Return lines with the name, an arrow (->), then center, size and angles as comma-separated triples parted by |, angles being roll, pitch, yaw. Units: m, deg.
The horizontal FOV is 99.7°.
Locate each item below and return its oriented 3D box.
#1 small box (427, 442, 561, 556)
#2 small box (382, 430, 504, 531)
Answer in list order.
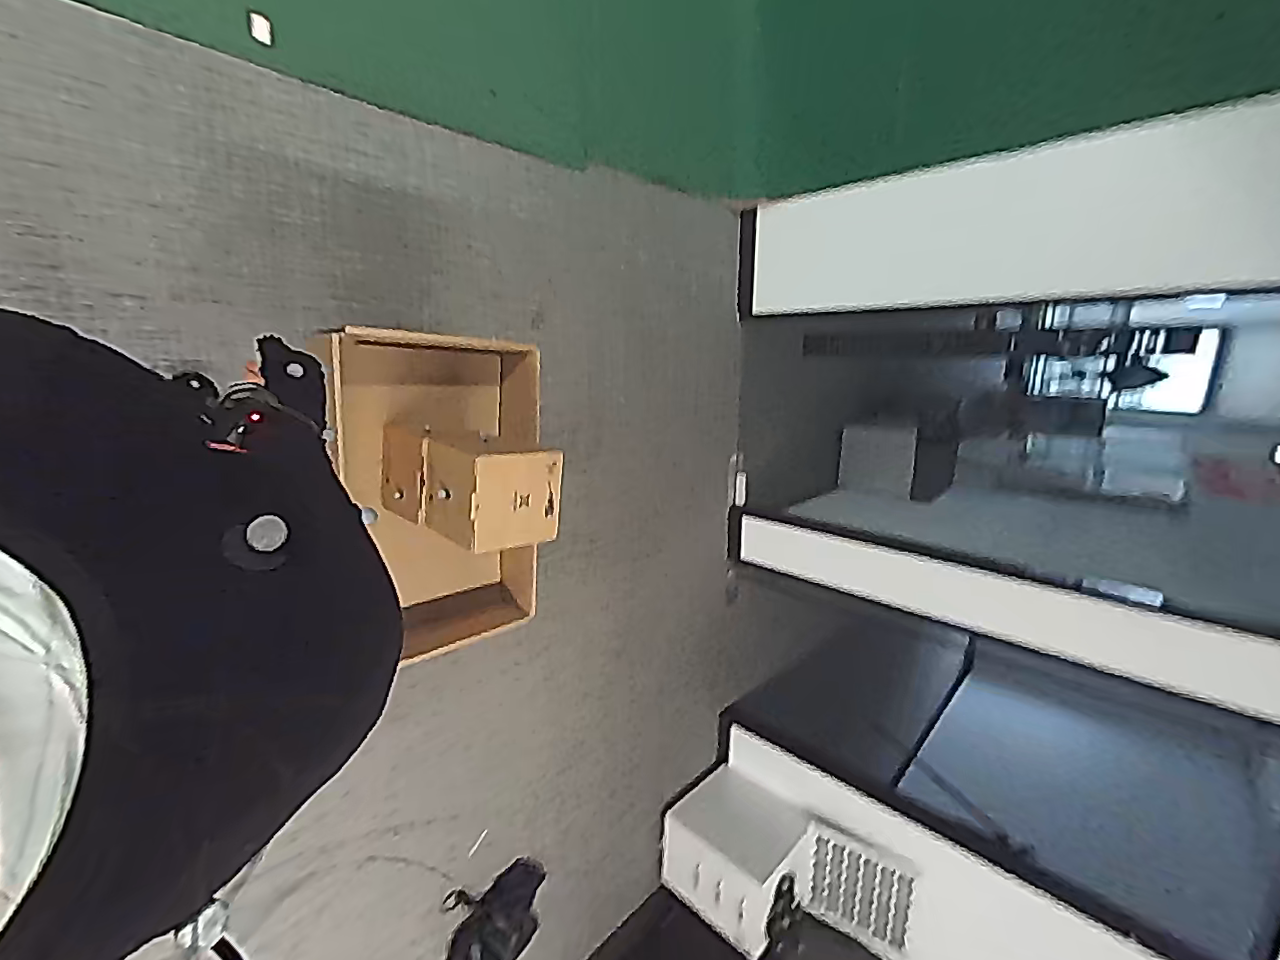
small box -> -0.267, 0.026, 0.978 | 0.179, 0.176, 0.168 | -5, 106, -46
small box -> -0.394, -0.006, 1.077 | 0.179, 0.176, 0.168 | -6, 106, -49
